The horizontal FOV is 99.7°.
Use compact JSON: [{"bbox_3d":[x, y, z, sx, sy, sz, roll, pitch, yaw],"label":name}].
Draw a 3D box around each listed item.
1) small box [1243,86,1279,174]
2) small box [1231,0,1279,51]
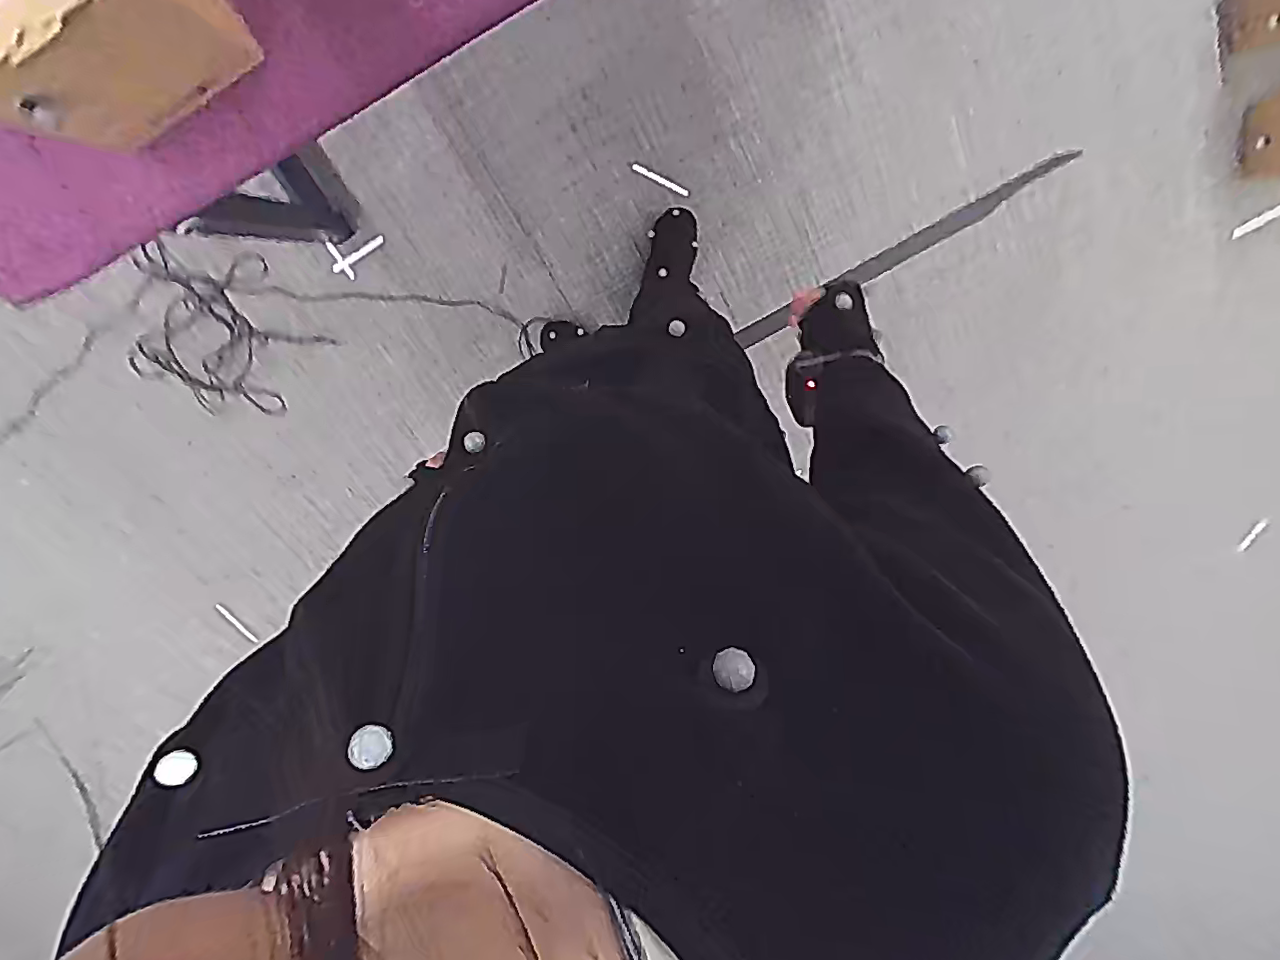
[{"bbox_3d":[1.541,-0.819,1.227,0.168,0.176,0.179,-25,113,4],"label":"small box"},{"bbox_3d":[1.389,-1.044,1.120,0.179,0.176,0.168,-31,113,5],"label":"small box"}]
